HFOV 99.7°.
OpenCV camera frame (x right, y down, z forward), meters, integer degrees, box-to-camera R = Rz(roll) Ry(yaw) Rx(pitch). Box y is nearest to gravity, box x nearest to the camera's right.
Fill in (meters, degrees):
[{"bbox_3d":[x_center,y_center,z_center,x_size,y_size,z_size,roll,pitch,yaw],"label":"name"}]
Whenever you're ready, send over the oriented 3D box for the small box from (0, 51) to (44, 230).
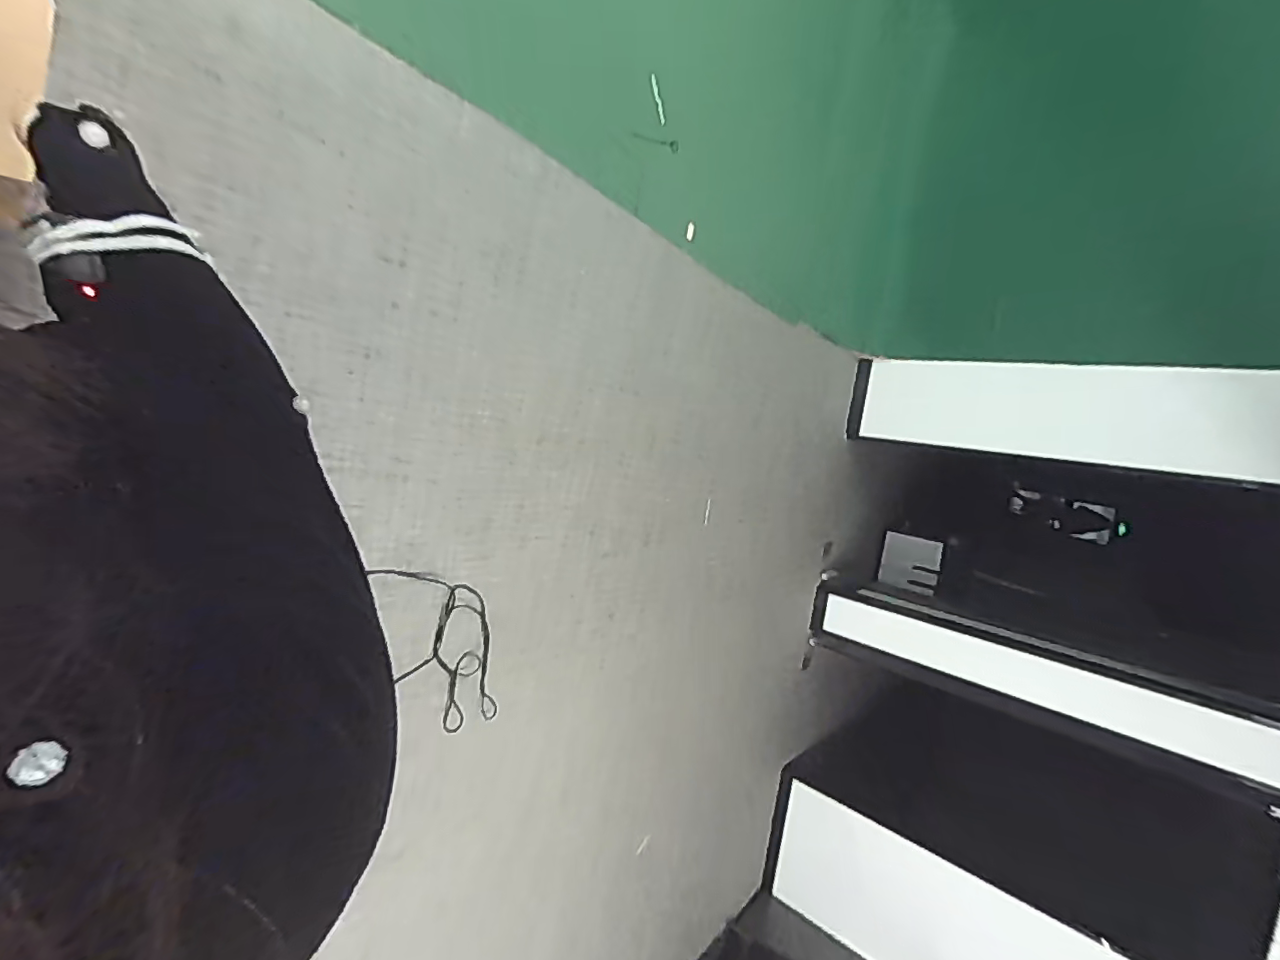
[{"bbox_3d":[-0.803,-0.402,0.600,0.168,0.176,0.179,11,91,-52],"label":"small box"}]
